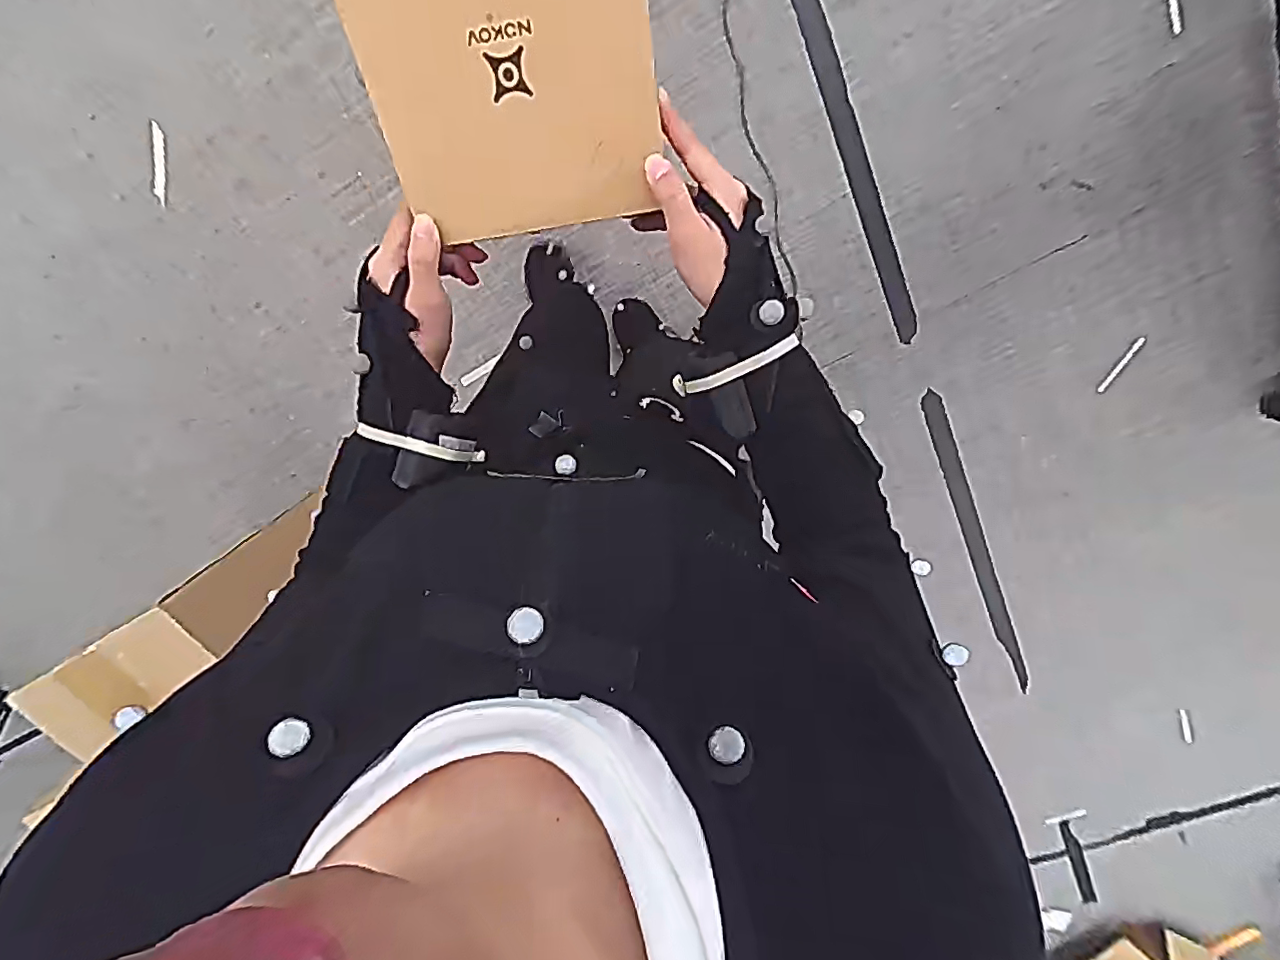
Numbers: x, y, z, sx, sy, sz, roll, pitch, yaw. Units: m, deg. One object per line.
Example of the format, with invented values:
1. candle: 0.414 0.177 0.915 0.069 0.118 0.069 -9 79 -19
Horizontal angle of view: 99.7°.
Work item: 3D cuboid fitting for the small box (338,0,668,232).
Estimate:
1. small box: -0.072 -0.284 0.354 0.168 0.176 0.179 -7 126 5
